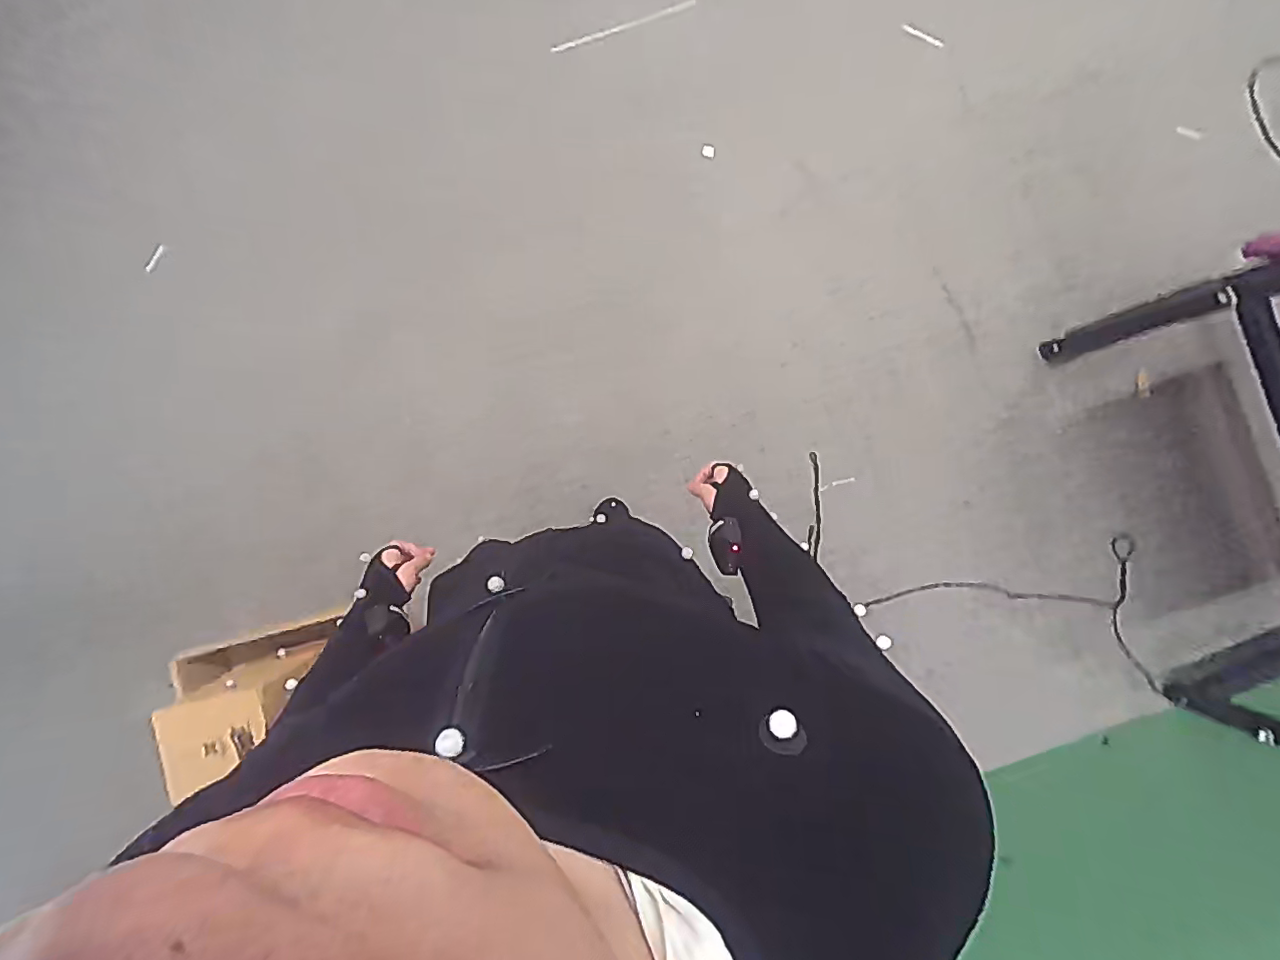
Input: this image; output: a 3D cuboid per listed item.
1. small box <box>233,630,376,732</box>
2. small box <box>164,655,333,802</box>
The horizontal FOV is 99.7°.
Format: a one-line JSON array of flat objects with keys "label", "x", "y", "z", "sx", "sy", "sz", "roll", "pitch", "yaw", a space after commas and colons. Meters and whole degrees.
[{"label": "small box", "x": -0.690, "y": 0.430, "z": 1.130, "sx": 0.179, "sy": 0.176, "sz": 0.168, "roll": -15, "pitch": 90, "yaw": -2}, {"label": "small box", "x": -0.679, "y": 0.431, "z": 0.966, "sx": 0.179, "sy": 0.176, "sz": 0.168, "roll": -13, "pitch": 90, "yaw": -1}]
